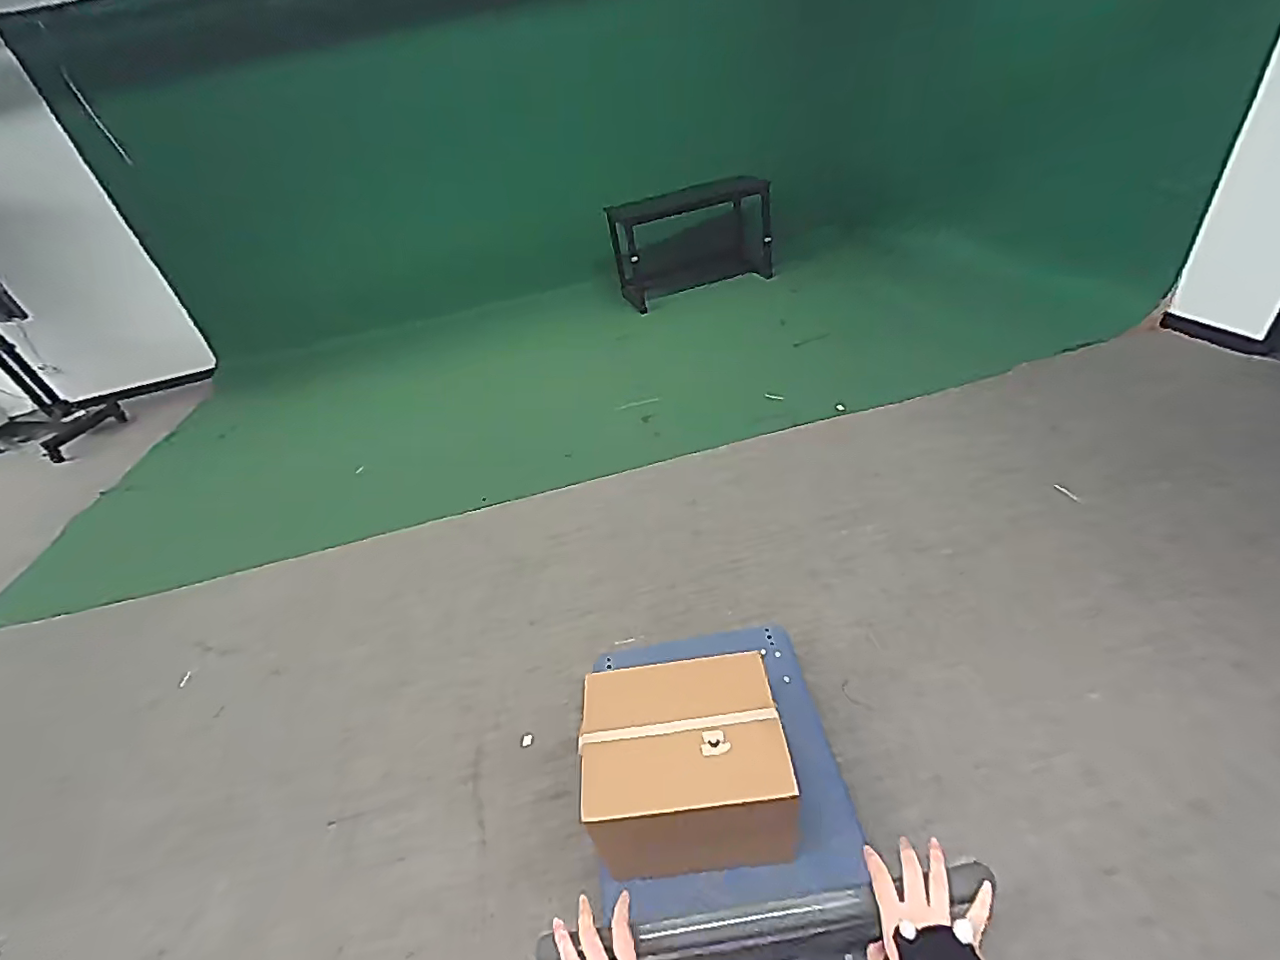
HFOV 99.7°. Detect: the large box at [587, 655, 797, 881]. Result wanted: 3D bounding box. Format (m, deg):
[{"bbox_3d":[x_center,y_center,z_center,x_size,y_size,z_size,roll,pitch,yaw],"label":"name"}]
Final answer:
[{"bbox_3d":[0.105,0.639,1.208,0.408,0.320,0.320,-8,36,2],"label":"large box"}]
